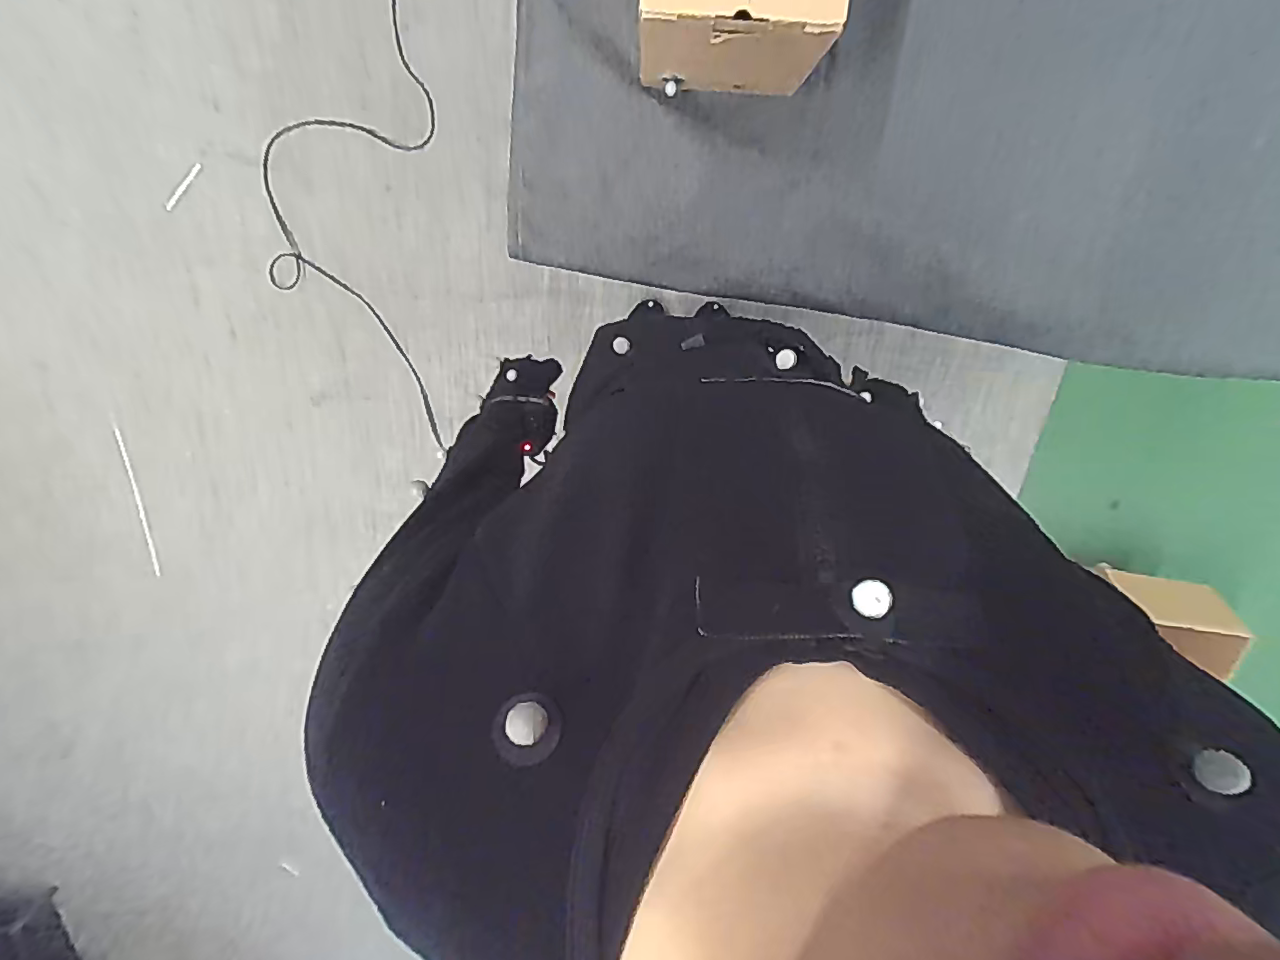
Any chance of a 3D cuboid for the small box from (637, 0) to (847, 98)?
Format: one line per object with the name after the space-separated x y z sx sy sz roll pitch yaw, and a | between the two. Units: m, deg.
0.087 -0.464 0.474 0.168 0.176 0.179 4 109 0 | small box
